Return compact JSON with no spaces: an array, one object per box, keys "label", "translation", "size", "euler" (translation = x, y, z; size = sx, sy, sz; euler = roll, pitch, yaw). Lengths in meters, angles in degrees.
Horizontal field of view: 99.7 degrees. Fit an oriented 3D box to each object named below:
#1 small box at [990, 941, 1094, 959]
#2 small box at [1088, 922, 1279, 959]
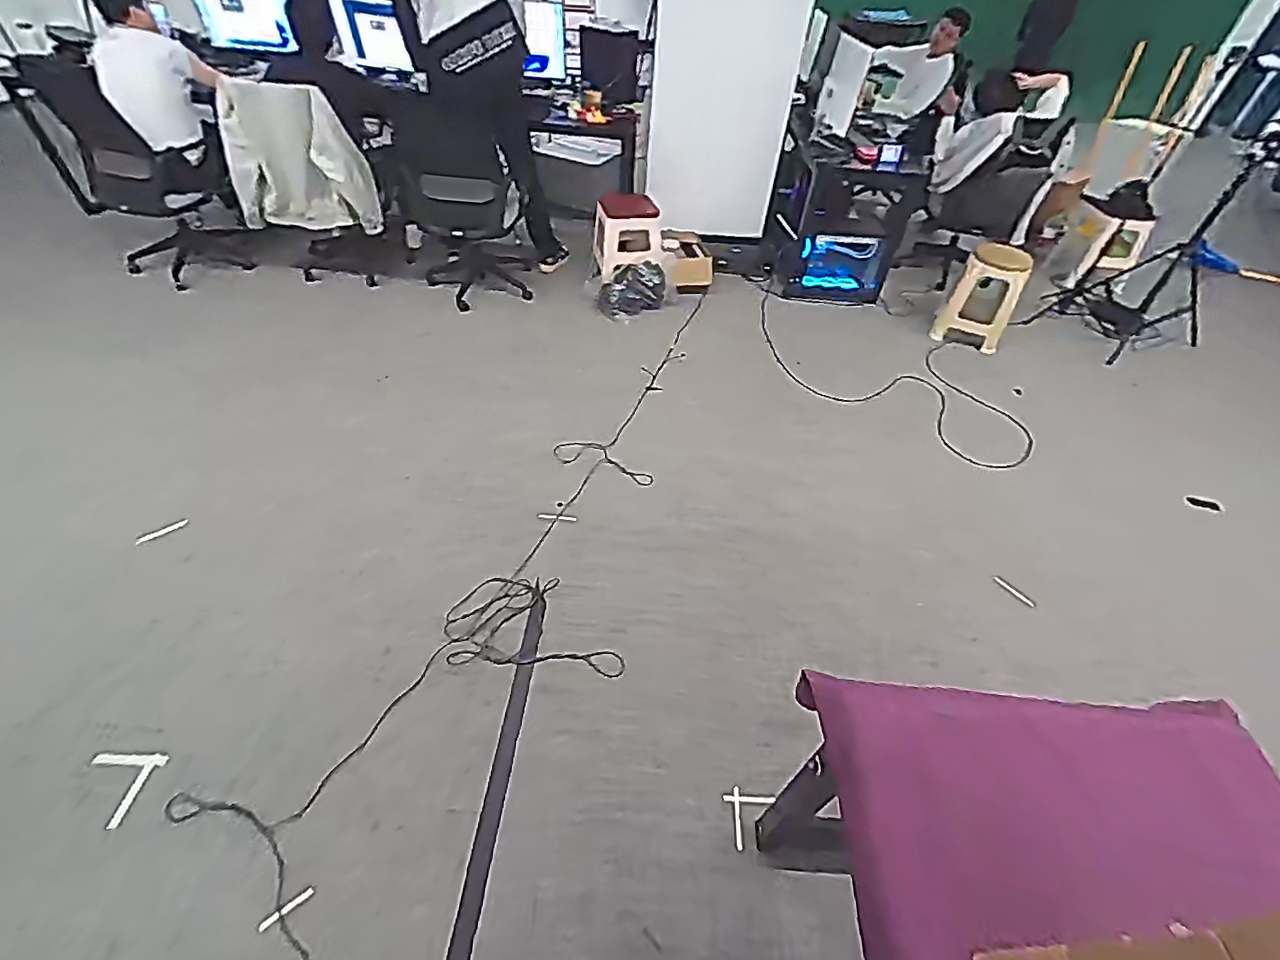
[{"label":"small box","translation":[0.458,0.553,0.502],"size":[0.179,0.176,0.168],"euler":[6,45,0]},{"label":"small box","translation":[0.476,0.437,0.387],"size":[0.179,0.176,0.168],"euler":[4,46,-1]}]
